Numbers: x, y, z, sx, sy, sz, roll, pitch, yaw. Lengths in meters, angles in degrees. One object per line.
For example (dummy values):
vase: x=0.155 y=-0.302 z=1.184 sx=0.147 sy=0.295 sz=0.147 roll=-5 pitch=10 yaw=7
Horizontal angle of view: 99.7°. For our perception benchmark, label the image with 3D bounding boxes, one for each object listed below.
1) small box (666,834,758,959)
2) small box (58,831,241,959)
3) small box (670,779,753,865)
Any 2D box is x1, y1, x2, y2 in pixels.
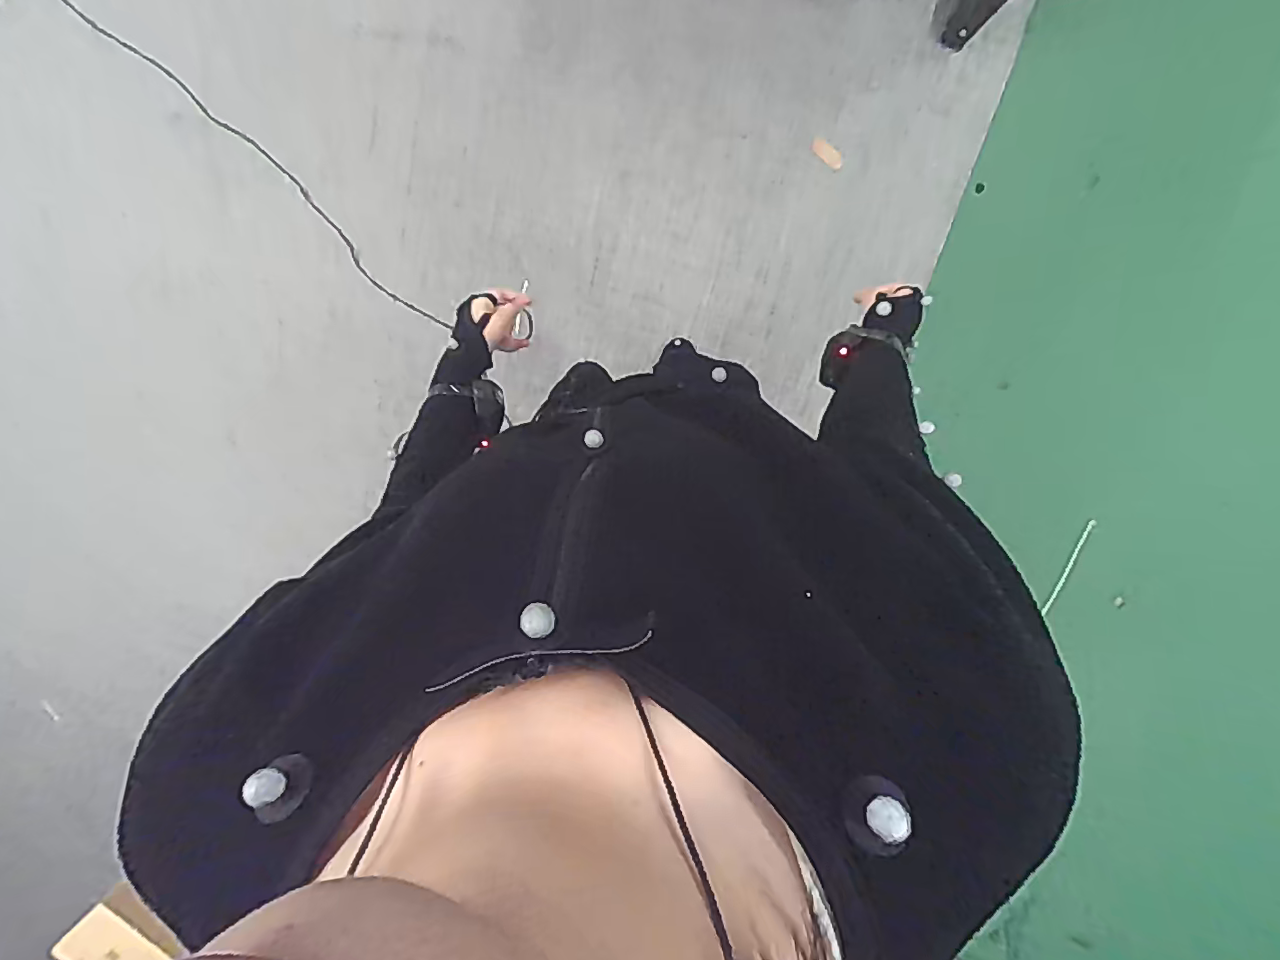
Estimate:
small box: x=0.147 y=0.905 z=1.162 sx=0.168 sy=0.176 sz=0.179 roll=7 pitch=103 yaw=2
small box: x=-0.924 y=0.831 z=1.041 sx=0.179 sy=0.176 sz=0.168 roll=-42 pitch=96 yaw=12
small box: x=0.167 y=0.863 z=1.319 sx=0.179 sy=0.176 sz=0.168 roll=5 pitch=103 yaw=3
